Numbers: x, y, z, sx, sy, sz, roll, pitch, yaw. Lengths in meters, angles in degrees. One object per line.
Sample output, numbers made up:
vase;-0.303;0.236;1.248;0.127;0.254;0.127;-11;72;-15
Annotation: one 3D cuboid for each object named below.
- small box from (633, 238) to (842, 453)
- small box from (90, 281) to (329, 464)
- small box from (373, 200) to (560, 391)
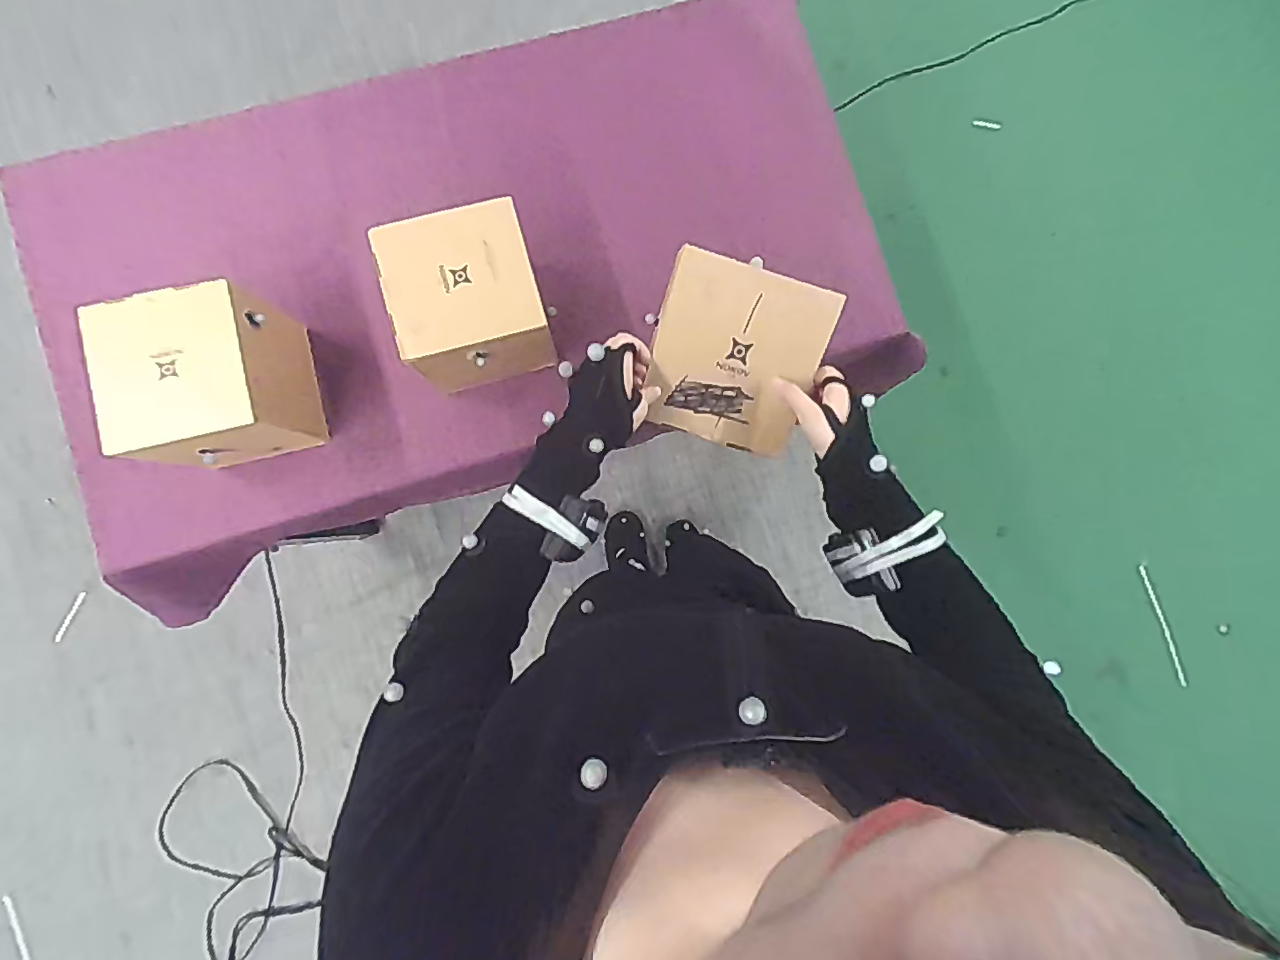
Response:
small box;0.098;-0.155;0.617;0.168;0.176;0.179;16;109;-4
small box;-0.531;-0.123;0.694;0.168;0.176;0.179;-14;85;-3
small box;-0.215;-0.230;0.716;0.179;0.176;0.168;-15;87;-4
